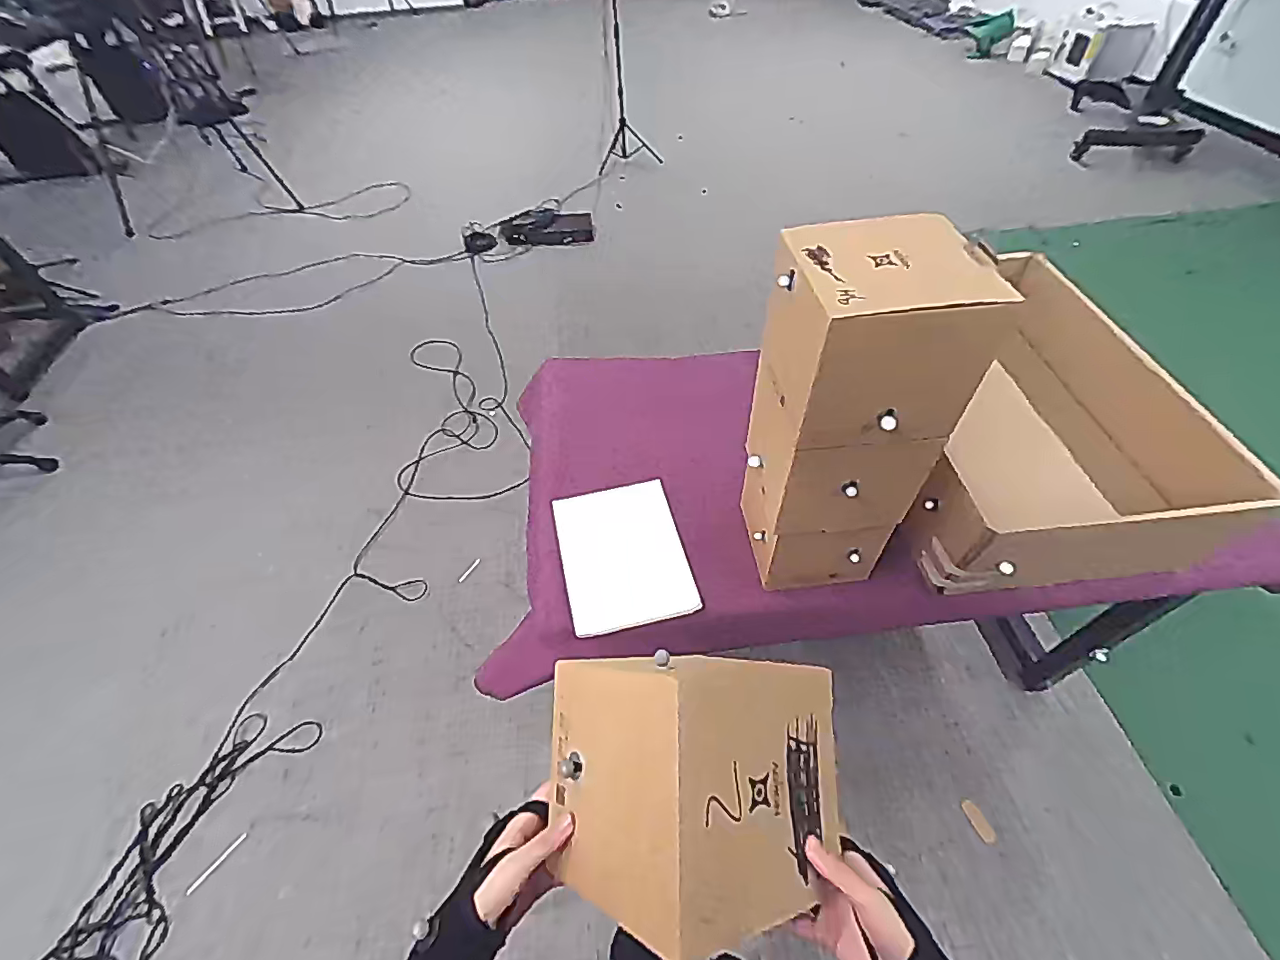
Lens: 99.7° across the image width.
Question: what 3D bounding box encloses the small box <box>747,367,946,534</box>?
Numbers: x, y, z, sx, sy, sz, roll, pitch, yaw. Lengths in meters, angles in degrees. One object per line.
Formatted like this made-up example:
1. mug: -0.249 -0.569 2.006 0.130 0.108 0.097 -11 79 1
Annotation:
1. small box: 0.248 -0.047 0.701 0.179 0.176 0.168 -6 49 -1

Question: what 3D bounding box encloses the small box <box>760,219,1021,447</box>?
1. small box: 0.240 -0.152 0.574 0.179 0.176 0.168 -5 49 -2

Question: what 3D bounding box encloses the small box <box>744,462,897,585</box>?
1. small box: 0.262 0.049 0.833 0.168 0.176 0.179 -5 49 -1
